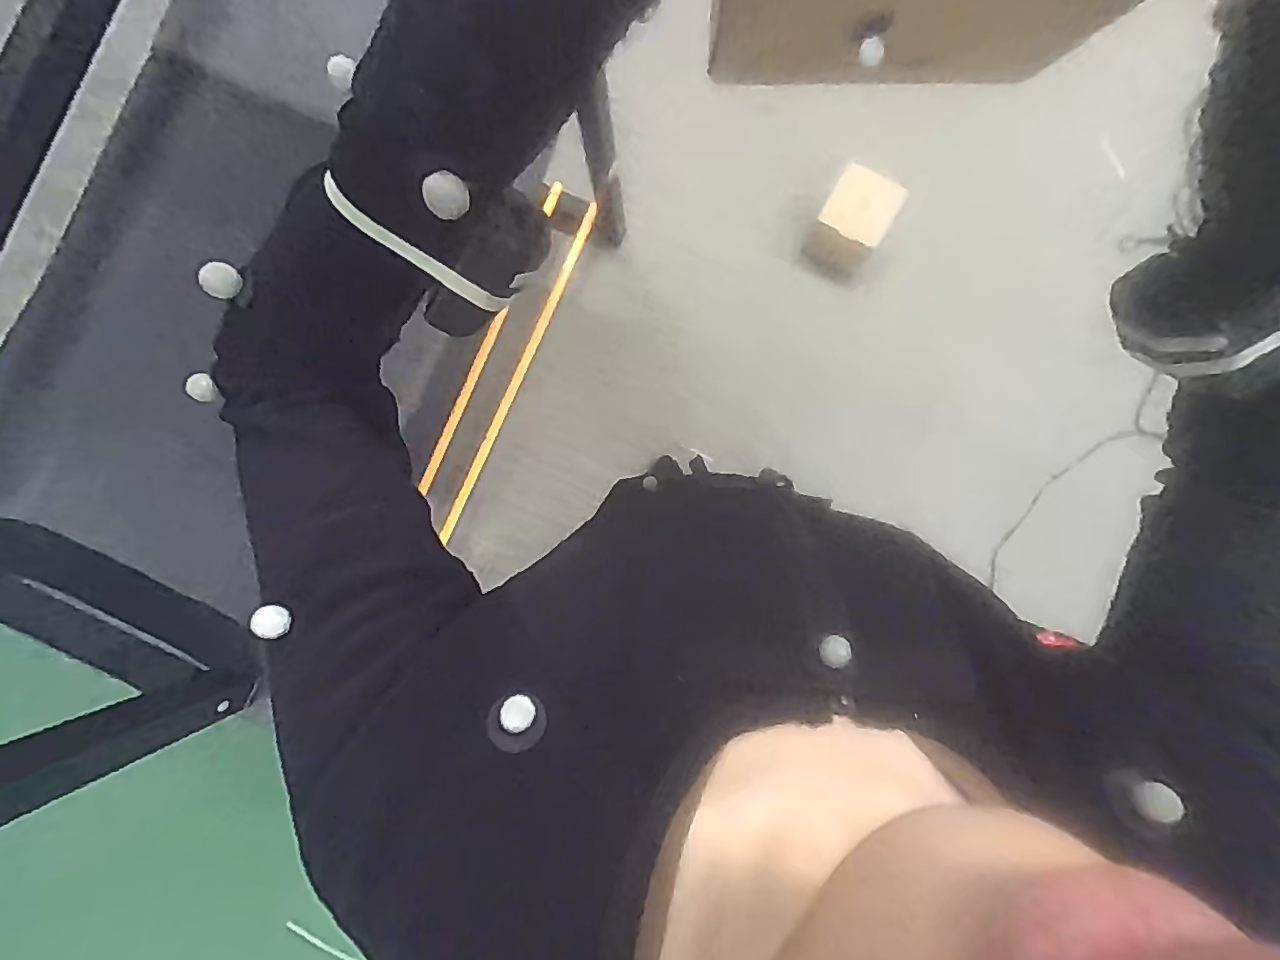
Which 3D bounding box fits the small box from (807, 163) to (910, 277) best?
[{"bbox_3d":[0.564,-0.675,1.422,0.168,0.176,0.179,30,89,5],"label":"small box"}]
